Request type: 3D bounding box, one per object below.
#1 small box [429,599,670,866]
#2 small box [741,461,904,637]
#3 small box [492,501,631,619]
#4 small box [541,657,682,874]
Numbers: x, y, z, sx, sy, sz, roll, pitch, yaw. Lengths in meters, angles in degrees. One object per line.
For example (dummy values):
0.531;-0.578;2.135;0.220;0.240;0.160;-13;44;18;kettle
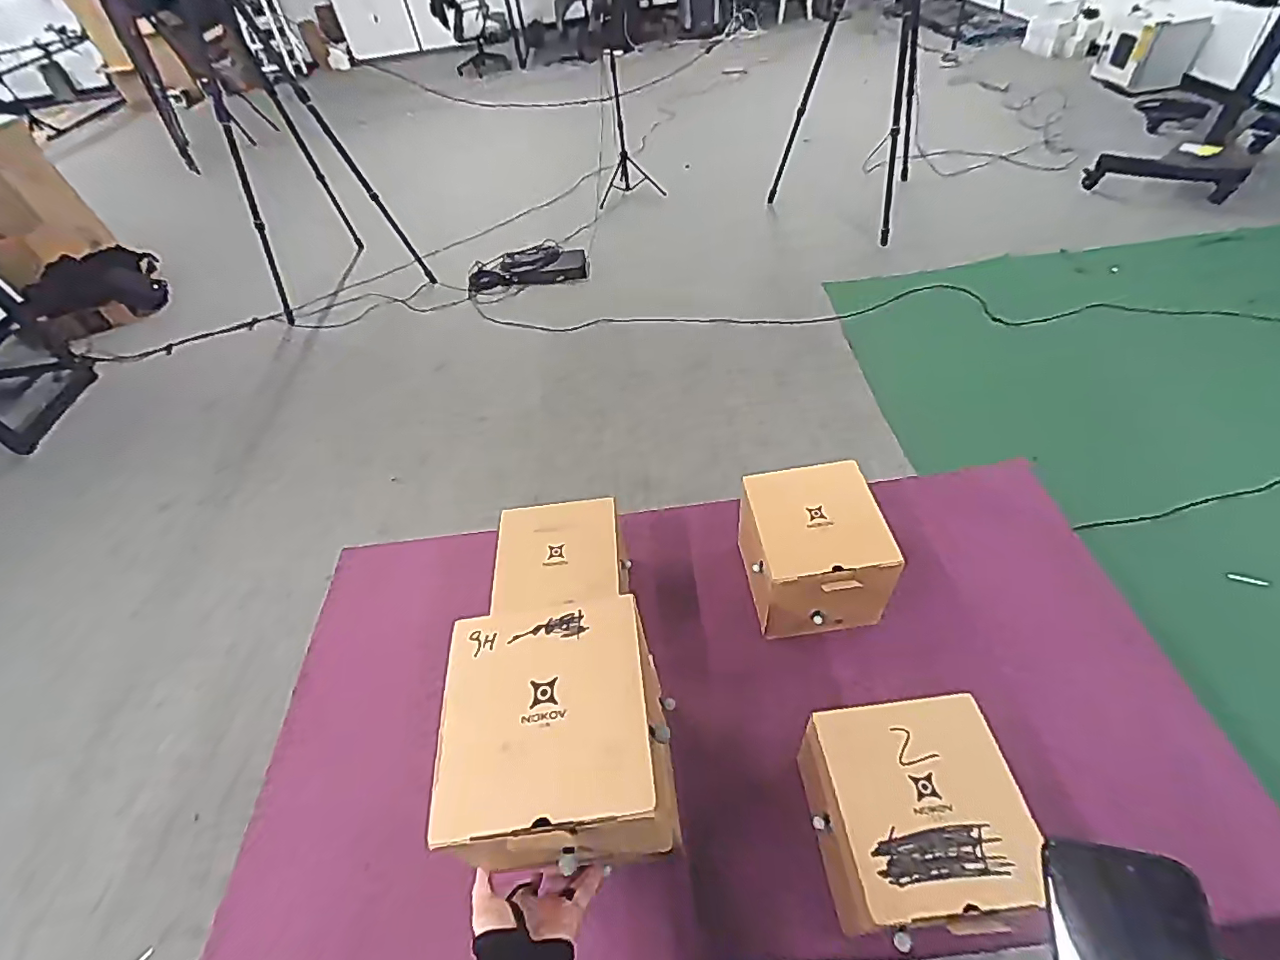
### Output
-0.068;0.234;0.490;0.168;0.176;0.179;-9;49;1;small box
0.244;0.101;0.777;0.168;0.176;0.179;-10;49;1;small box
-0.102;0.156;0.784;0.168;0.176;0.179;-7;49;2;small box
-0.047;0.330;0.623;0.168;0.176;0.179;-9;48;1;small box
